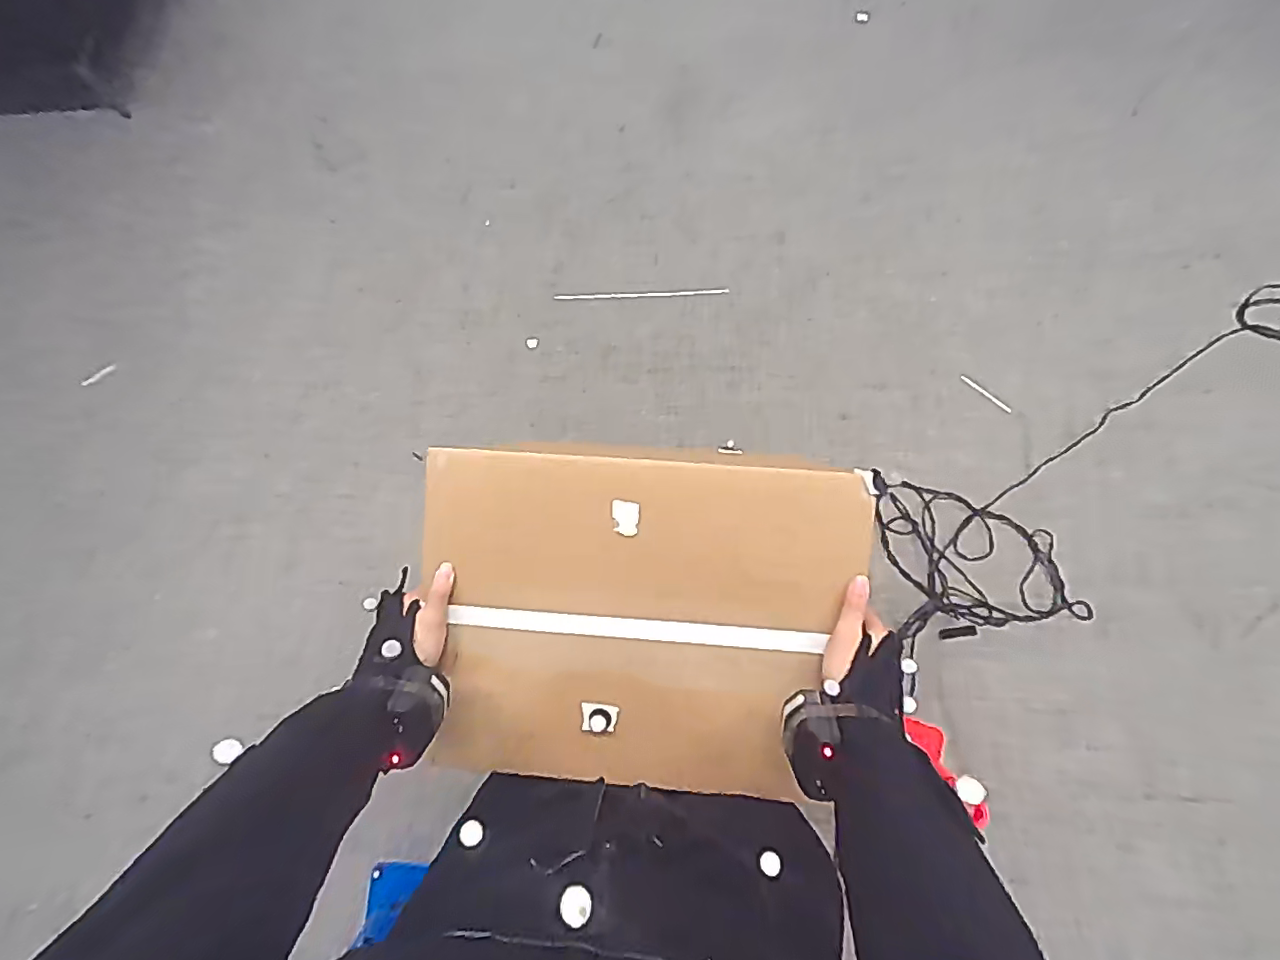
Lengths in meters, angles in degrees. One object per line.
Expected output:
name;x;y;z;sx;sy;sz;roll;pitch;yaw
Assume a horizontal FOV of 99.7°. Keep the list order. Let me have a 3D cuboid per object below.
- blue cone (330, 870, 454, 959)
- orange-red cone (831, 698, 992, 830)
blue cone;-0.485;0.843;0.926;0.192;0.380;0.193;0;72;6
orange-red cone;0.491;0.518;0.924;0.199;0.360;0.198;20;76;10
